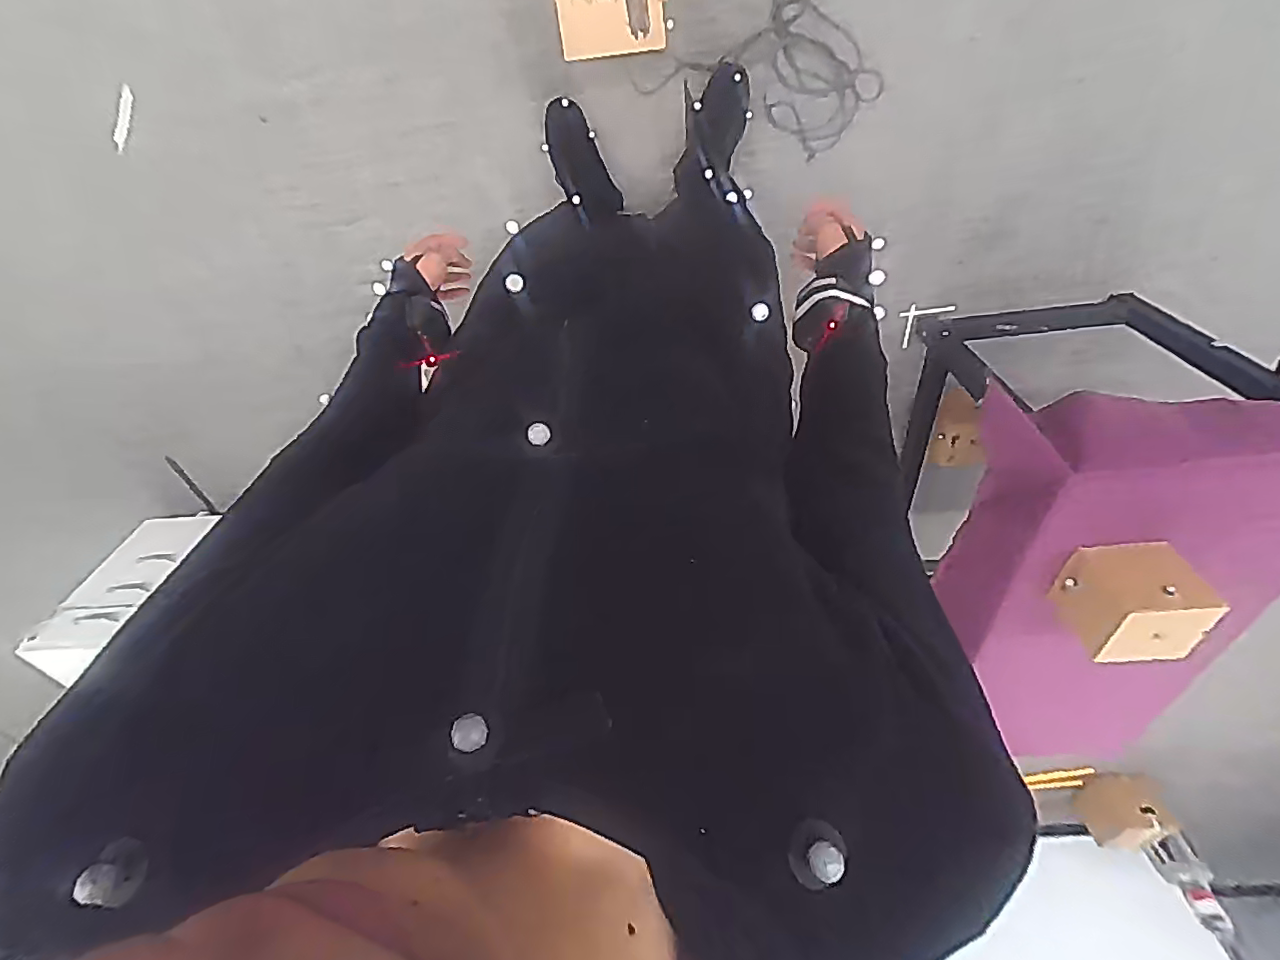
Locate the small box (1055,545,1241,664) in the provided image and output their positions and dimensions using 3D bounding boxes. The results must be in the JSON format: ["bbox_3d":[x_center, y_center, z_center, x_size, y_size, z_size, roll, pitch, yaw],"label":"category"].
[{"bbox_3d":[0.985,0.242,1.070,0.179,0.176,0.168,-4,130,4],"label":"small box"}]

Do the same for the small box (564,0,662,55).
[{"bbox_3d":[-0.051,-0.931,1.036,0.179,0.176,0.168,-6,130,5],"label":"small box"}]
